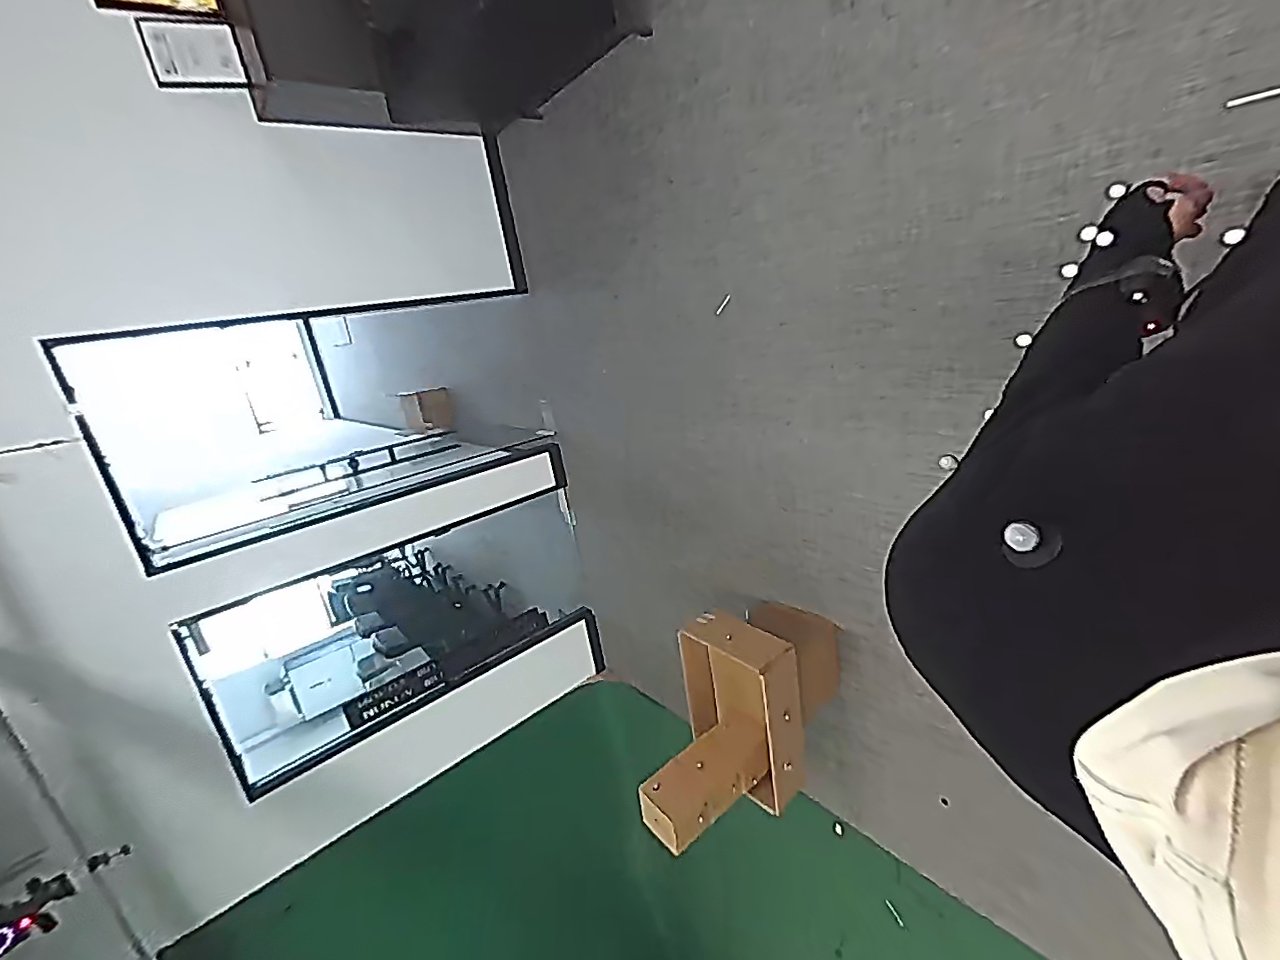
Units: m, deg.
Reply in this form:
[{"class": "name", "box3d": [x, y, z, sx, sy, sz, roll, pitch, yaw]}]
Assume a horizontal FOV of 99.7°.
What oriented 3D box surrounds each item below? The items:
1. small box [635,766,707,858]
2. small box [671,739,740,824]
[{"class": "small box", "box3d": [0.106, 1.108, 1.829, 0.179, 0.176, 0.168, 18, 122, 48]}, {"class": "small box", "box3d": [0.233, 1.059, 1.922, 0.179, 0.176, 0.168, 15, 120, 49]}]
